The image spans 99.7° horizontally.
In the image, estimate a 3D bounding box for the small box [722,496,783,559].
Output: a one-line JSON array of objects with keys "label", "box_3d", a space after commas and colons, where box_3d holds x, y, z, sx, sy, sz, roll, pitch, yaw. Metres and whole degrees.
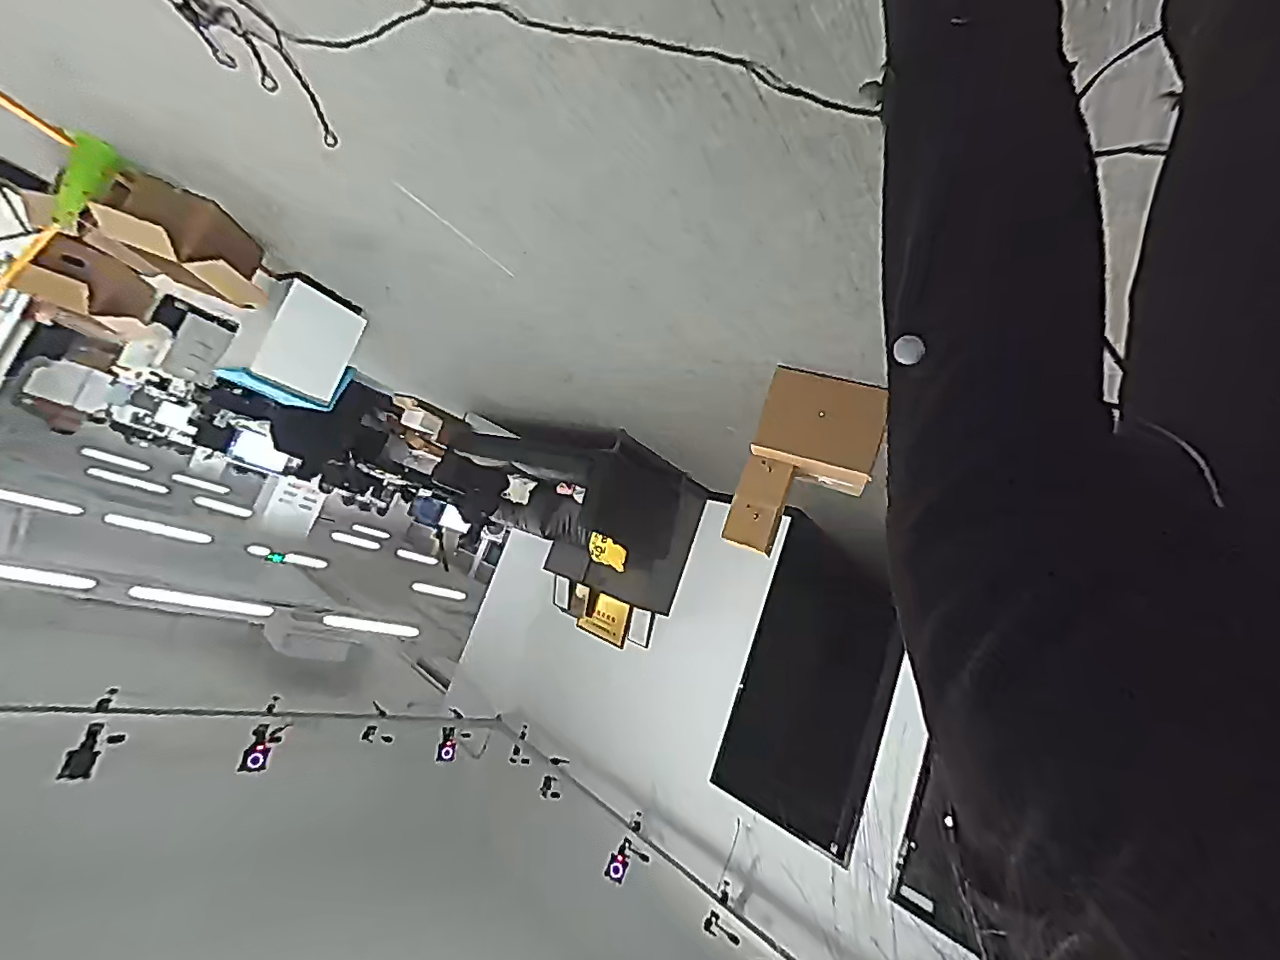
[{"label": "small box", "box_3d": [0.418, 0.172, 1.977, 0.168, 0.176, 0.179, 16, 170, 23]}]
